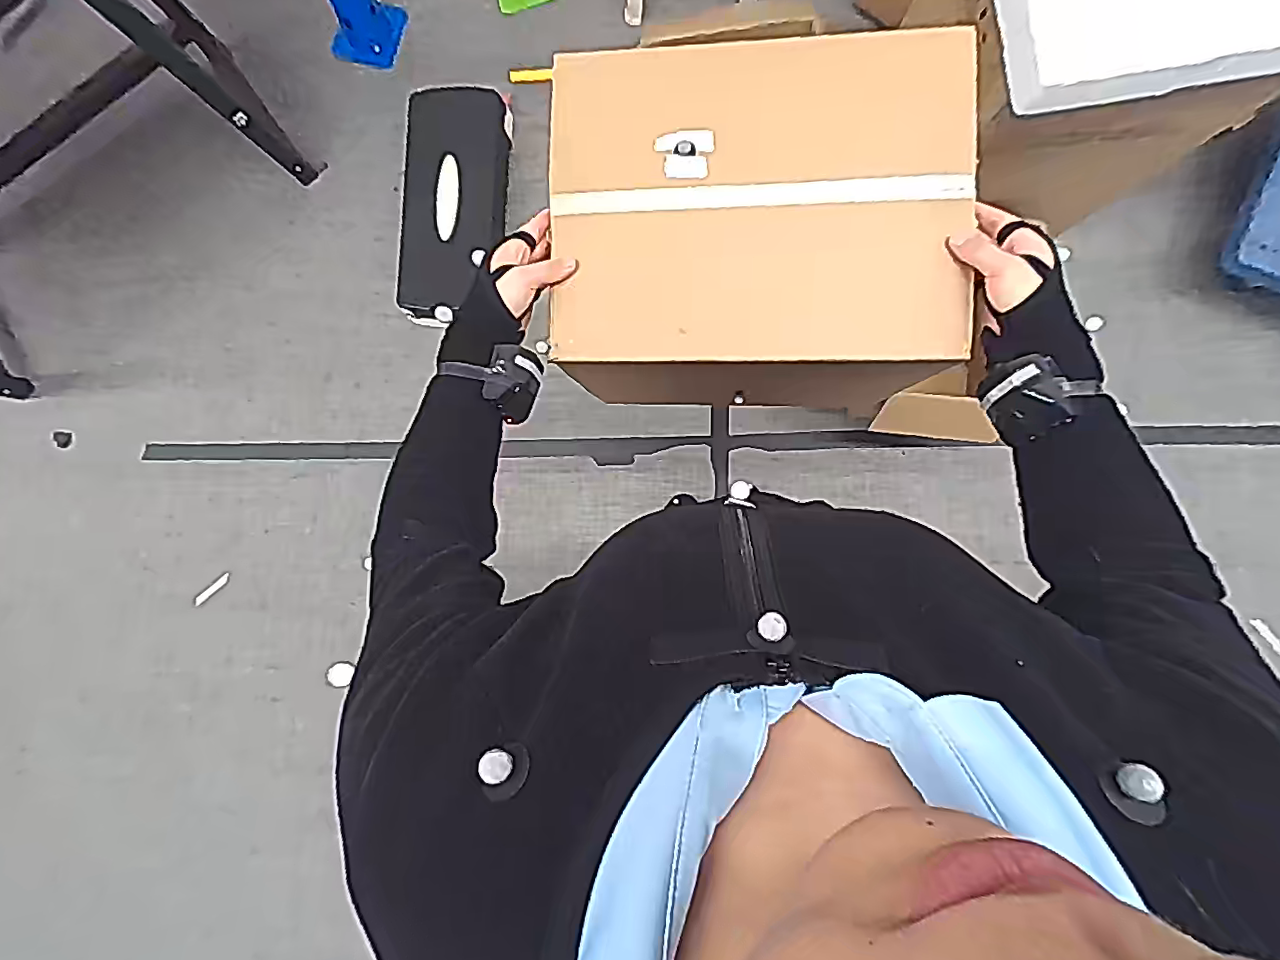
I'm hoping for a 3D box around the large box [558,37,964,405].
[{"bbox_3d":[0.132,-0.271,0.687,0.408,0.320,0.320,0,88,7],"label":"large box"}]
